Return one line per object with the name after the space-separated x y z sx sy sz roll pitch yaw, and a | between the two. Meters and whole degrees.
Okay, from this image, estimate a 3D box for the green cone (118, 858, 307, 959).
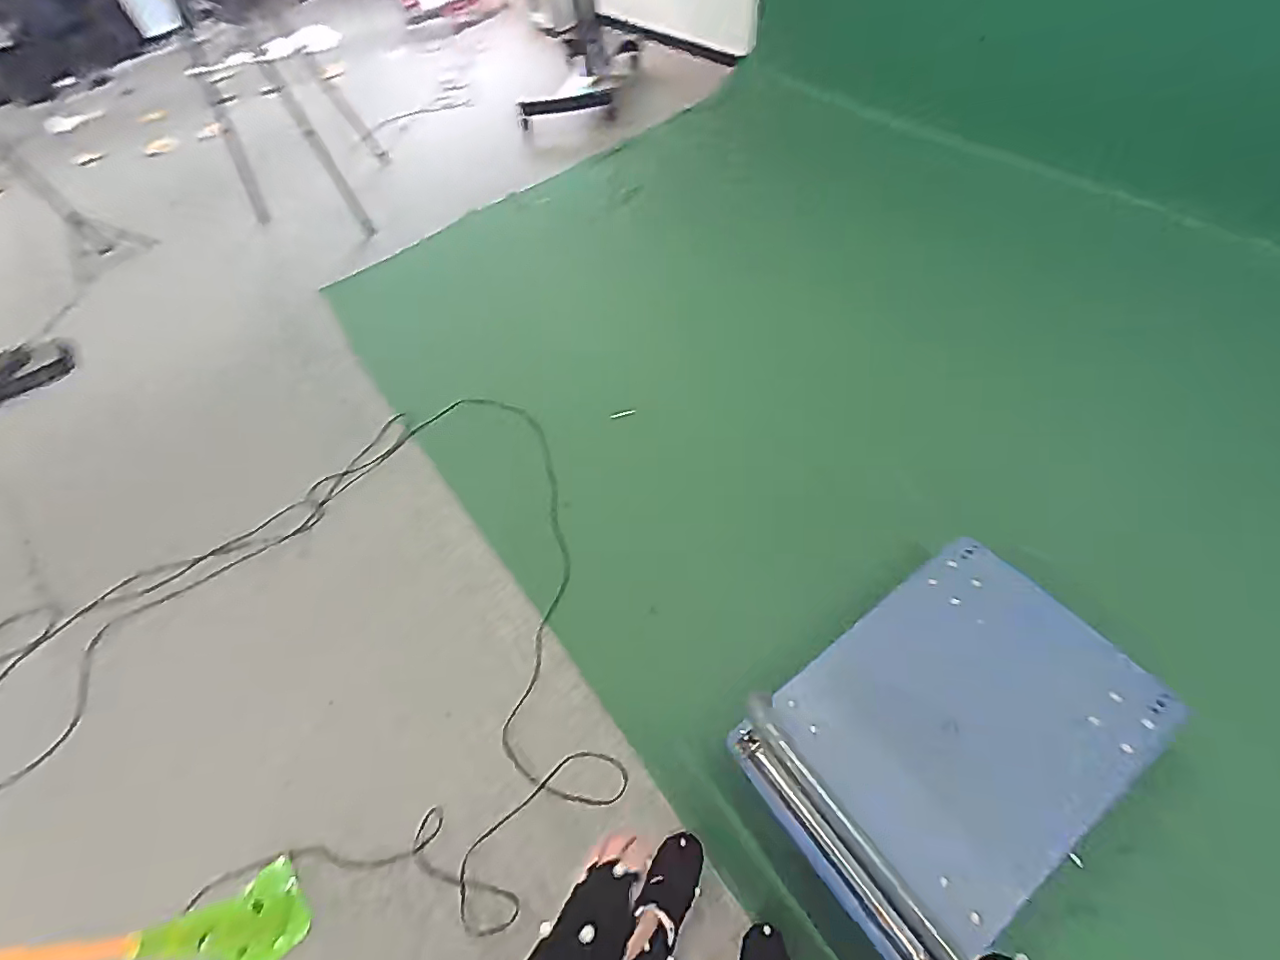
-0.958 0.991 1.189 0.200 0.368 0.202 -39 58 -17 | green cone
